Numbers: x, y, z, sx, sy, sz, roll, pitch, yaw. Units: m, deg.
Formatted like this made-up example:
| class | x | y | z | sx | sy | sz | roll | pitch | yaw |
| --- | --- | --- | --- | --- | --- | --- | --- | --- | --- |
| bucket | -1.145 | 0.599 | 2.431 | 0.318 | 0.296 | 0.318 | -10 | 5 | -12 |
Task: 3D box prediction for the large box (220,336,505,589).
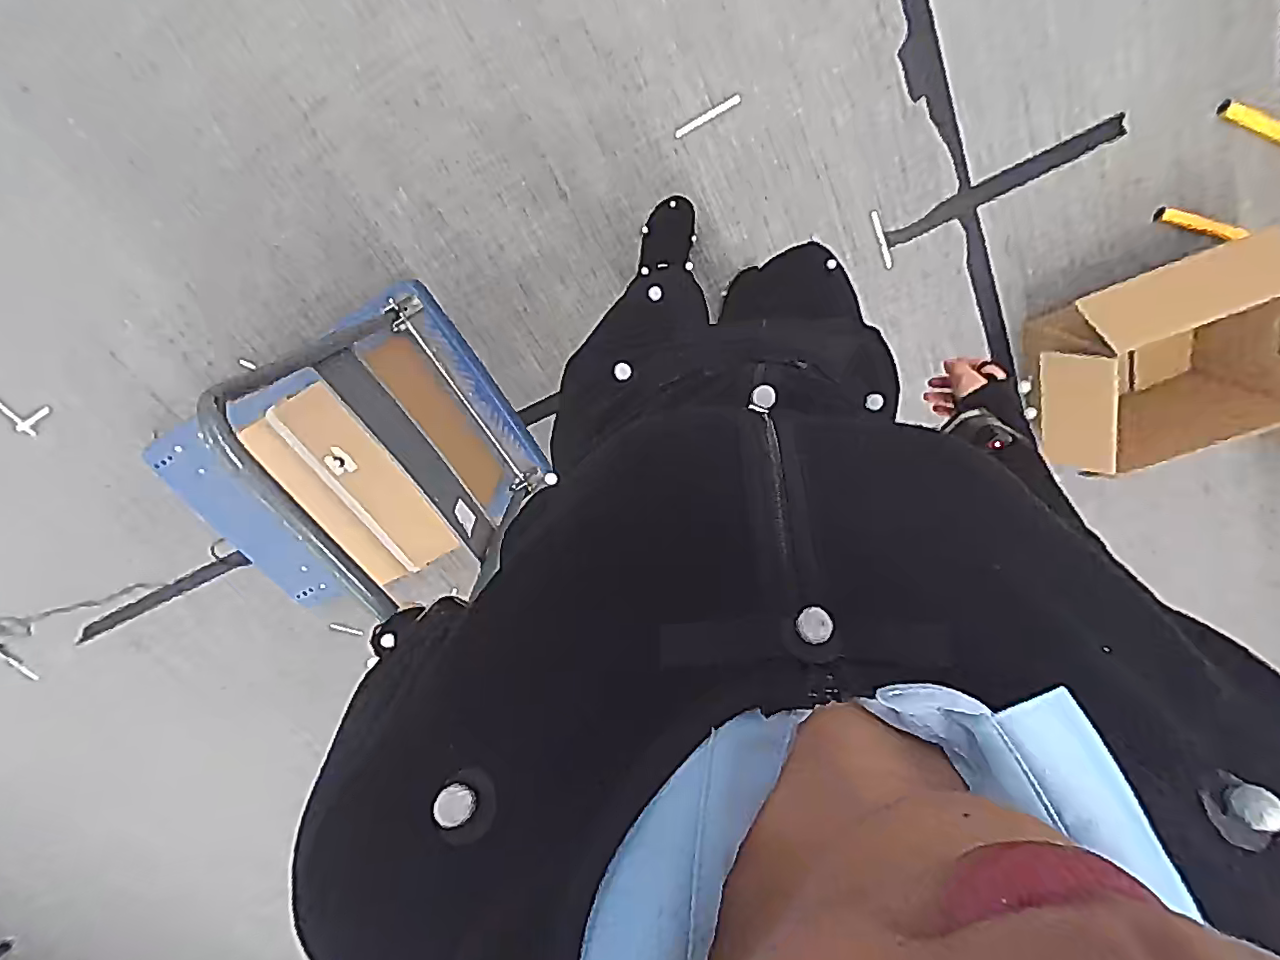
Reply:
| class | x | y | z | sx | sy | sz | roll | pitch | yaw |
| --- | --- | --- | --- | --- | --- | --- | --- | --- | --- |
| large box | -0.567 | -0.044 | 1.198 | 0.320 | 0.320 | 0.408 | -26 | 114 | 12 |
